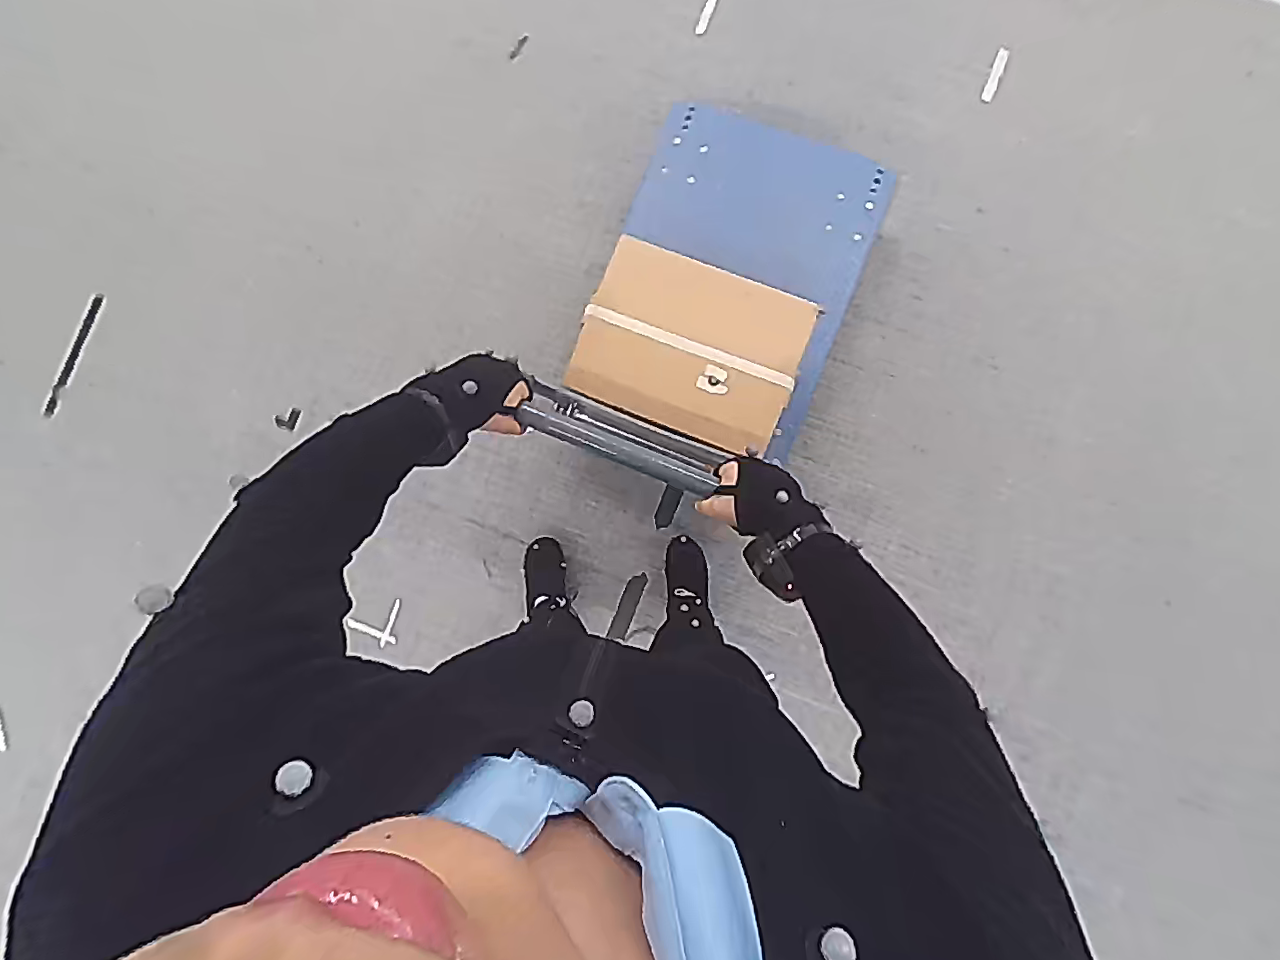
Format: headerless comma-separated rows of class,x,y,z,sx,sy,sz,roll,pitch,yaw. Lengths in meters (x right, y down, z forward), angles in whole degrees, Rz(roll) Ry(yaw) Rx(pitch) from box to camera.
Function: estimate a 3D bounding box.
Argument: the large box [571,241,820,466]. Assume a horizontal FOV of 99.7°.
large box,0.109,-0.247,1.173,0.408,0.320,0.320,22,90,4
